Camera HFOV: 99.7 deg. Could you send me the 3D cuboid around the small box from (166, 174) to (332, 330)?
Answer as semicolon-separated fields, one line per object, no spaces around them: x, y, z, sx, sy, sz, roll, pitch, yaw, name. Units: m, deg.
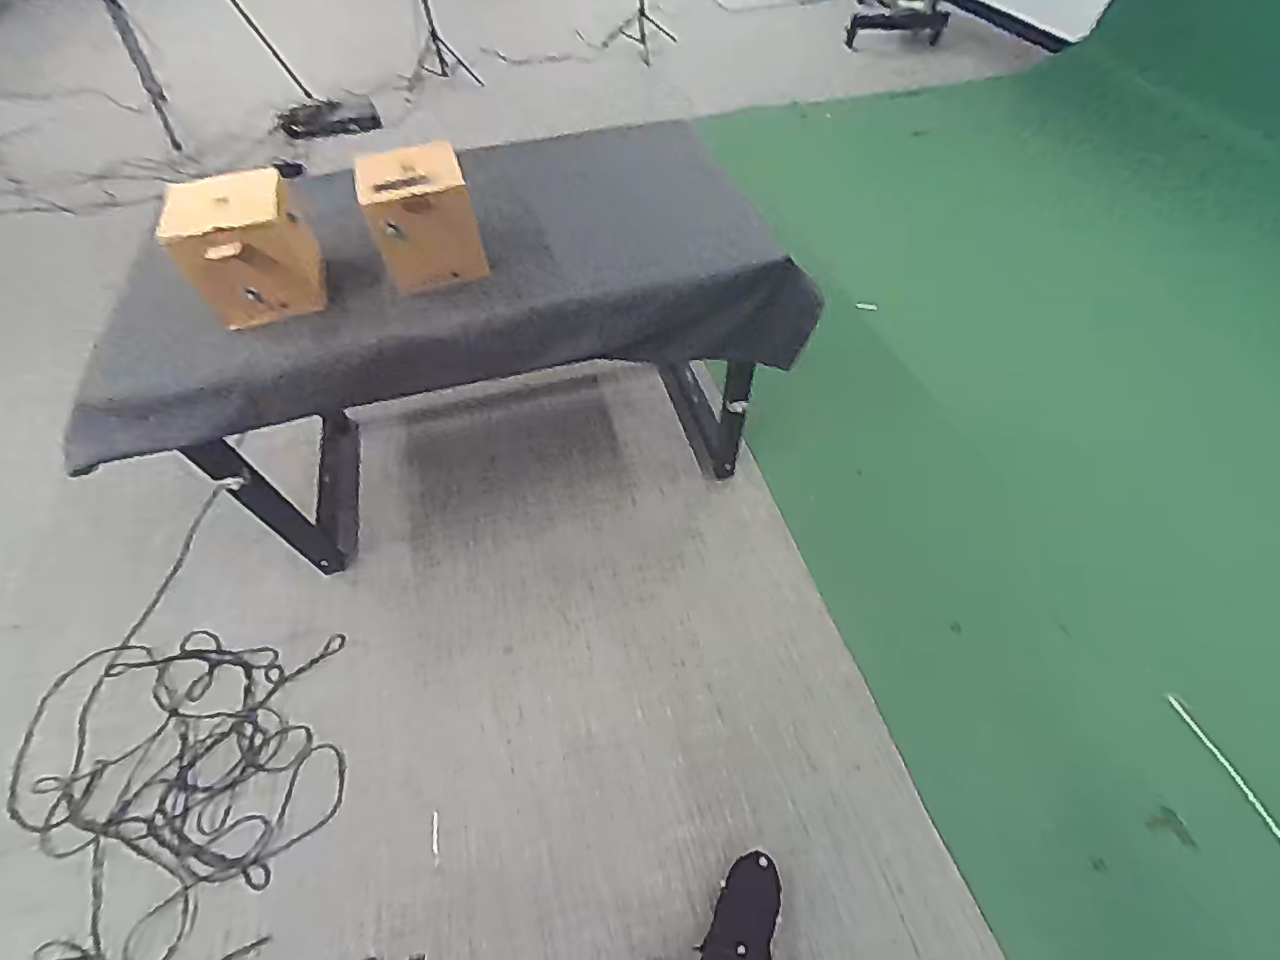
-0.650;-0.387;0.923;0.168;0.176;0.179;-17;56;-11;small box
